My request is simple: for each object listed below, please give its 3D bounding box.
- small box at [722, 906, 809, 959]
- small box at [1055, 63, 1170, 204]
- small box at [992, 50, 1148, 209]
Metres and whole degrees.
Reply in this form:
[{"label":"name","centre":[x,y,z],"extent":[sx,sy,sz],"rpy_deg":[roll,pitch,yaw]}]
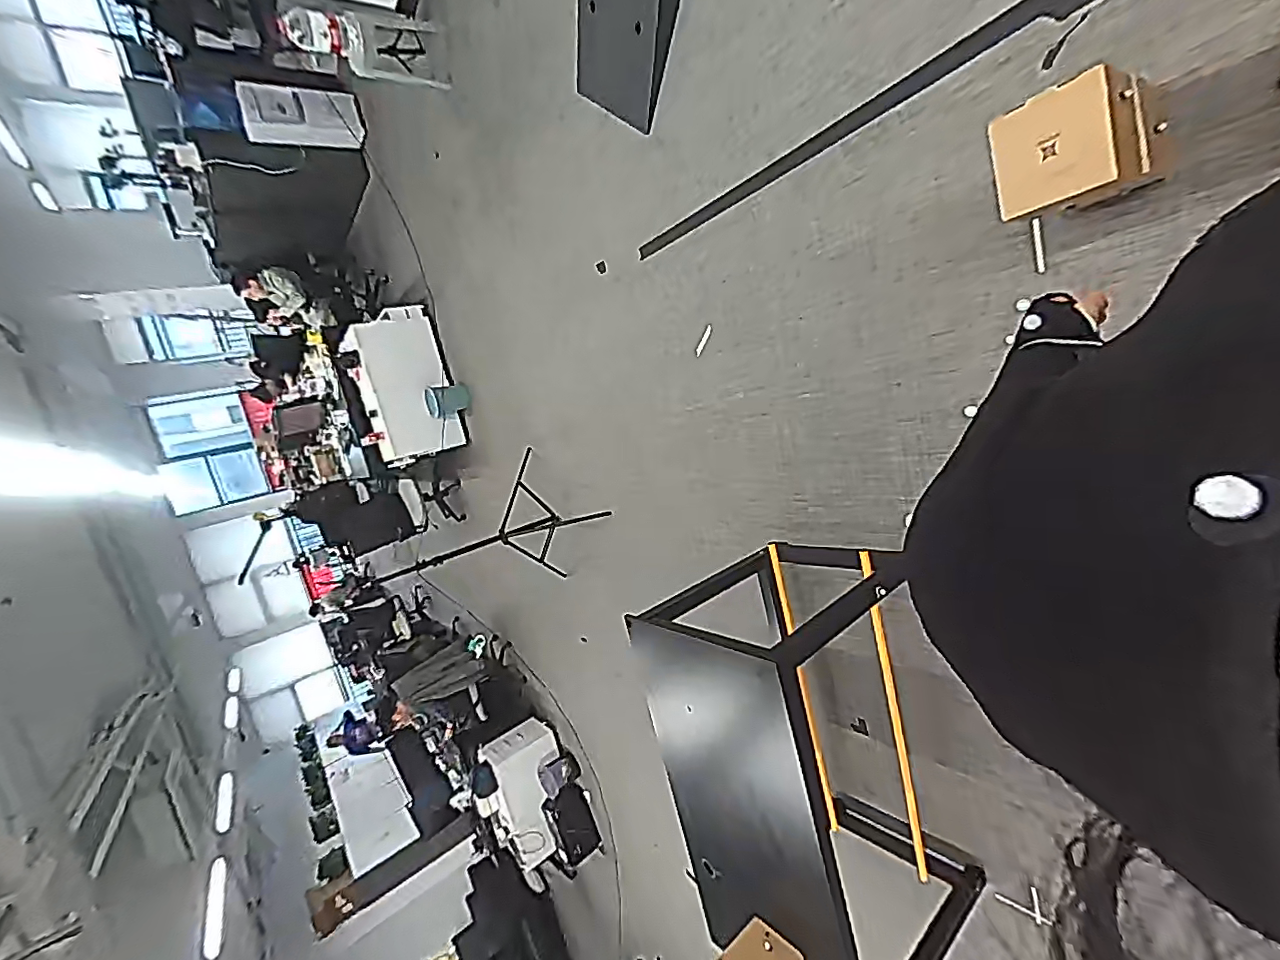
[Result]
[{"label":"small box","centre":[0.356,1.347,1.490],"extent":[0.168,0.176,0.179],"rpy_deg":[-2,105,54]},{"label":"small box","centre":[0.875,-0.648,1.032],"extent":[0.179,0.176,0.168],"rpy_deg":[-5,103,55]},{"label":"small box","centre":[0.749,-0.595,0.943],"extent":[0.168,0.176,0.179],"rpy_deg":[-3,106,56]}]
